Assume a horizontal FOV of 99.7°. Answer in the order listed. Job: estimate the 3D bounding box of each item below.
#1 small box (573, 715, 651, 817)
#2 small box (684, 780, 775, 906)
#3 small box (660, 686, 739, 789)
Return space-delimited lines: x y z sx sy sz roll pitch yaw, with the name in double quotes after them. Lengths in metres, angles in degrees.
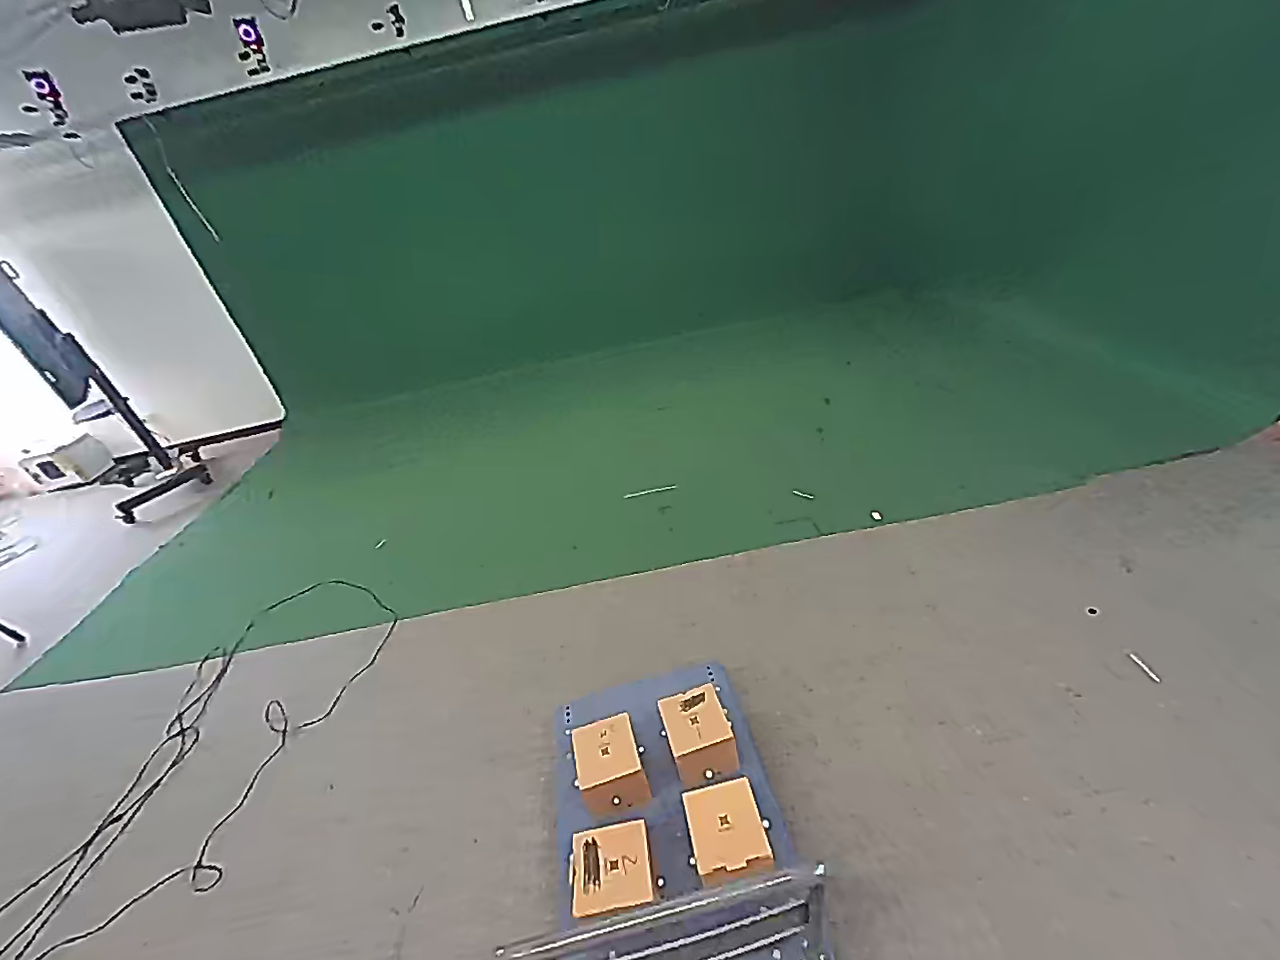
-0.076 0.787 1.477 0.168 0.176 0.179 -16 32 -6 "small box"
0.209 0.854 1.274 0.168 0.176 0.179 -14 33 -2 "small box"
0.164 0.714 1.501 0.168 0.176 0.179 -17 34 -5 "small box"
